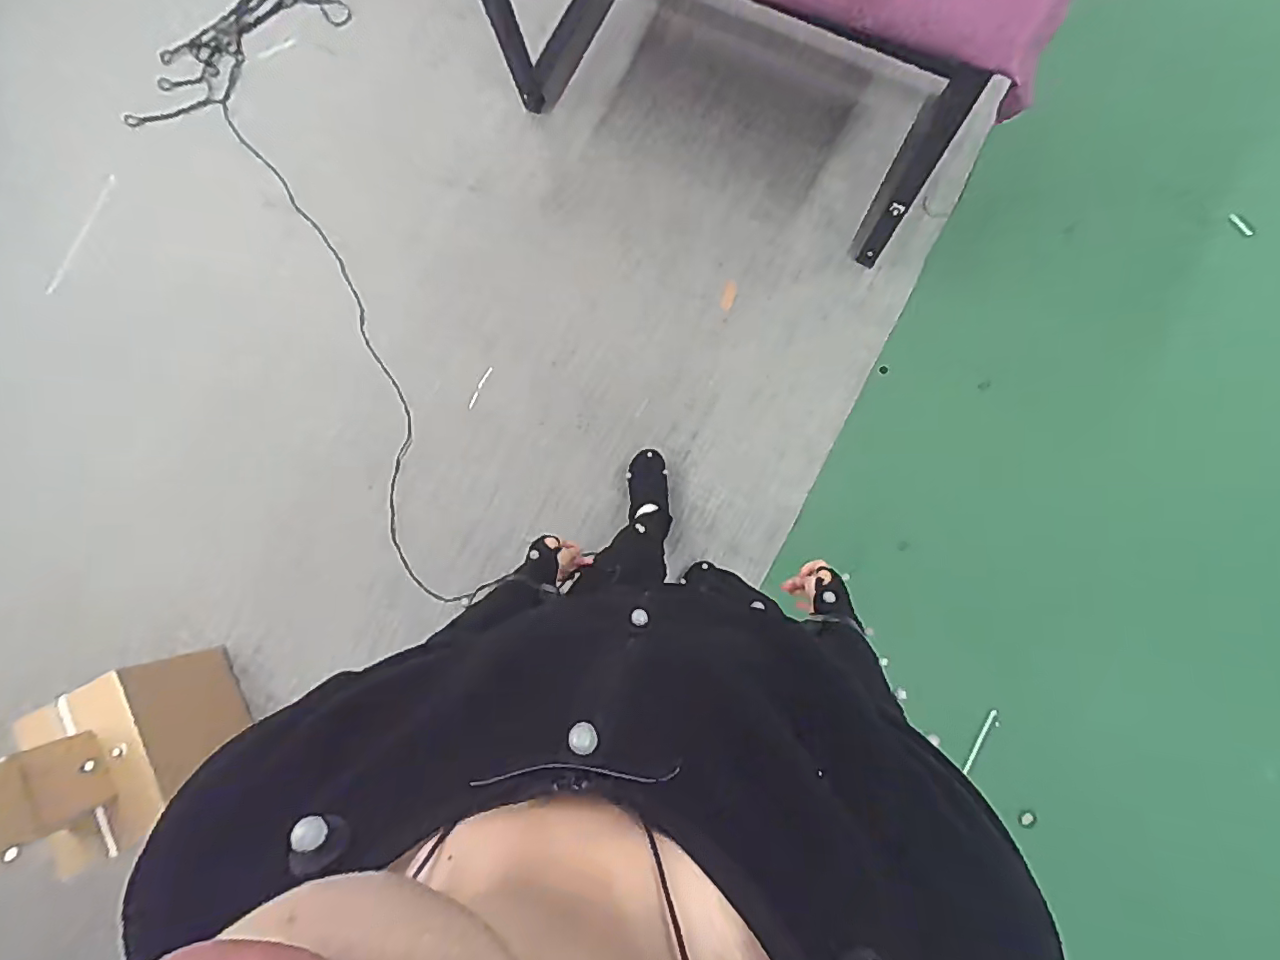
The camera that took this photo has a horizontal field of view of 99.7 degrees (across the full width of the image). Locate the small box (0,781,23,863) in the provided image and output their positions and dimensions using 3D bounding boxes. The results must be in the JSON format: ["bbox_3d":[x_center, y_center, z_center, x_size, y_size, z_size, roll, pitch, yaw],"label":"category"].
[{"bbox_3d":[-1.358,0.698,1.025,0.168,0.176,0.179,-29,83,2],"label":"small box"}]

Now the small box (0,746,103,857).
[{"bbox_3d":[-1.360,0.717,1.190,0.168,0.176,0.179,-33,81,2],"label":"small box"}]
